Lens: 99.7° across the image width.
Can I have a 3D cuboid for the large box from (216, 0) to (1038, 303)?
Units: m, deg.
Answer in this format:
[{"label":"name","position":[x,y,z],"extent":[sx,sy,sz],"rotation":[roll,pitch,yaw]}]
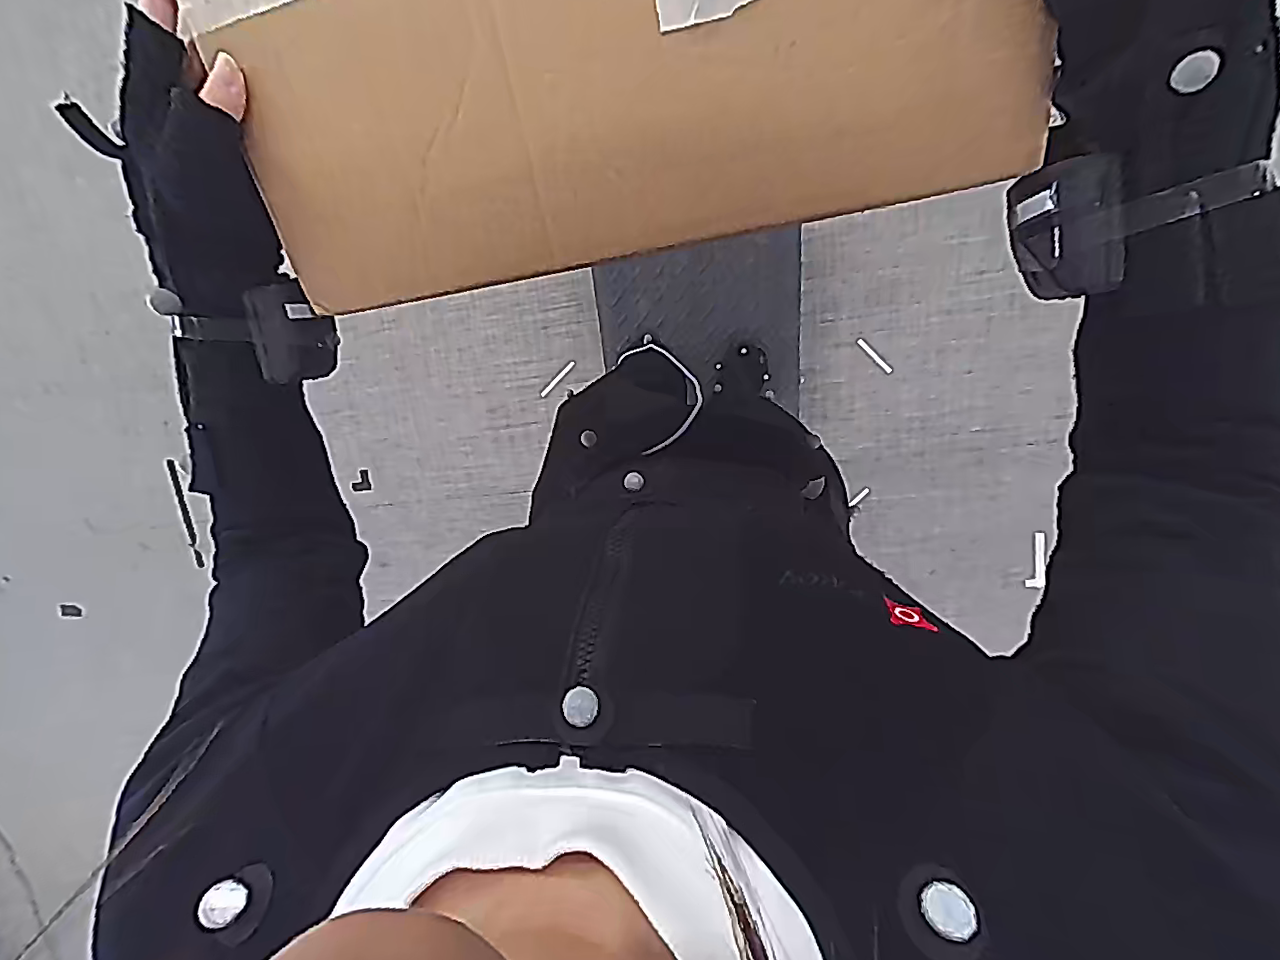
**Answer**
[{"label":"large box","position":[-0.013,-0.338,0.378],"extent":[0.408,0.320,0.320],"rotation":[-7,115,13]}]
